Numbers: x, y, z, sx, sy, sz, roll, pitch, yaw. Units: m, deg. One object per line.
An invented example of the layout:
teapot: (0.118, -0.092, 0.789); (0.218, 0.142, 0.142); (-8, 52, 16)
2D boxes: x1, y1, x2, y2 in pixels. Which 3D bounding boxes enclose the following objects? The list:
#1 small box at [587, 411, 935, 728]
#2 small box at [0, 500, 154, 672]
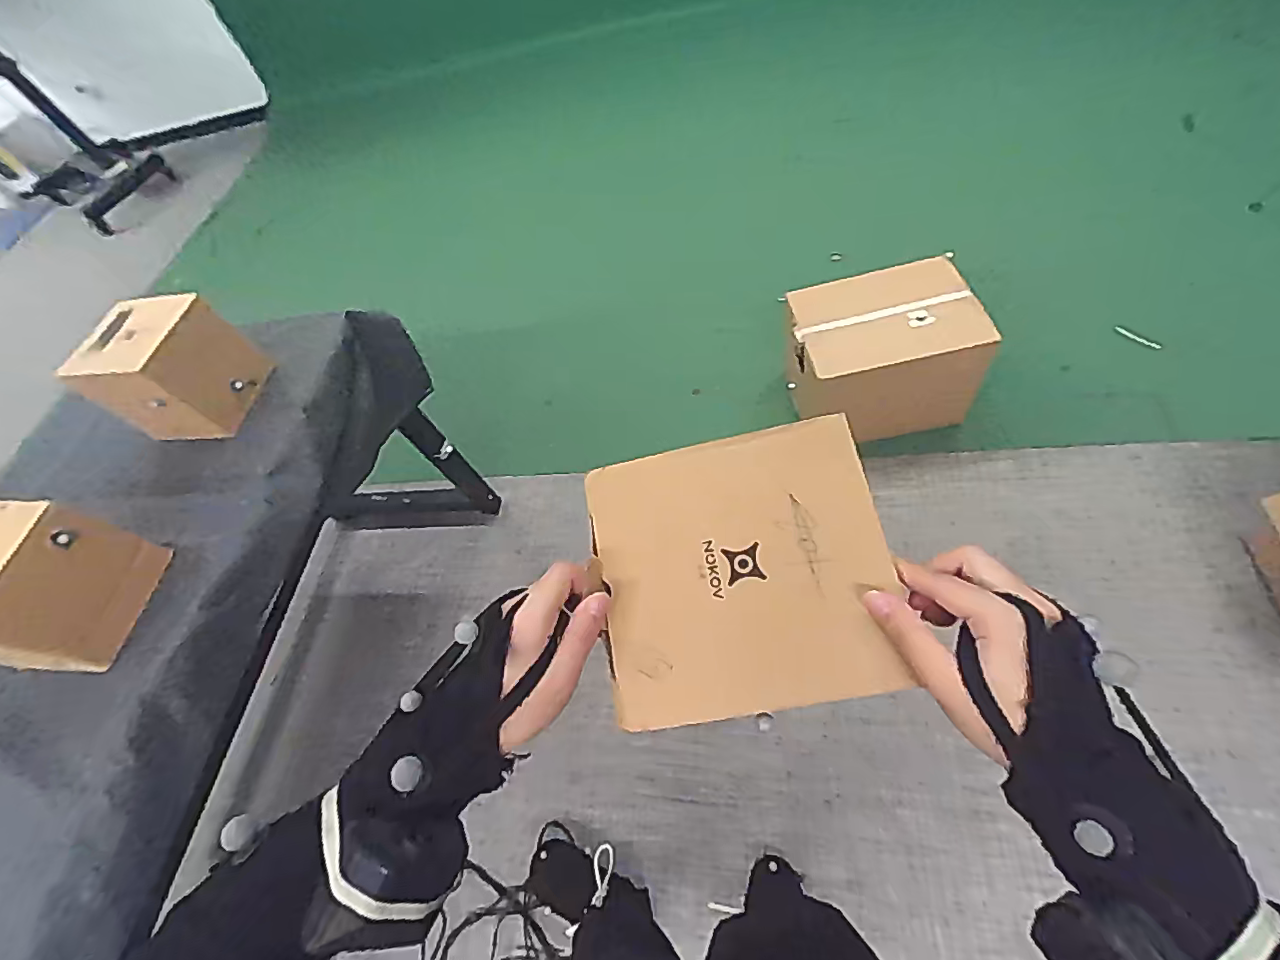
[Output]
small box: (0.075, 0.074, 0.395); (0.179, 0.176, 0.168); (-13, 70, 6)
small box: (-0.801, 0.143, 0.701); (0.168, 0.176, 0.179); (-3, 58, 13)
